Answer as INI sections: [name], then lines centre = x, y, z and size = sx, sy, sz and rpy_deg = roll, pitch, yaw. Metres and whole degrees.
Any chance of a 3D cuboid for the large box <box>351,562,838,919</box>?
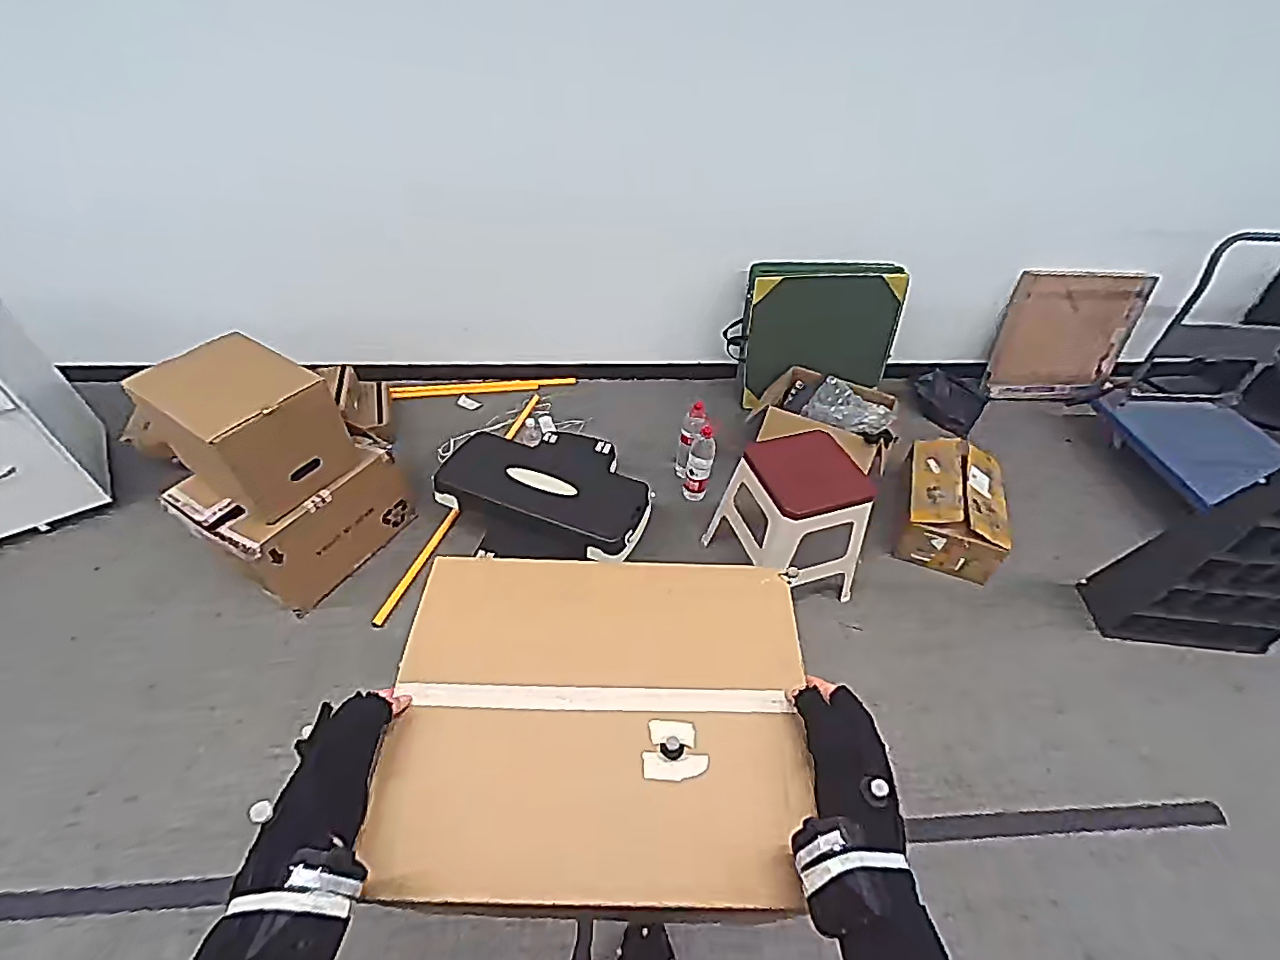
[large box]
centre = -0.040, 0.315, 0.643
size = 0.408, 0.320, 0.320
rpy_deg = 2, 49, -1
